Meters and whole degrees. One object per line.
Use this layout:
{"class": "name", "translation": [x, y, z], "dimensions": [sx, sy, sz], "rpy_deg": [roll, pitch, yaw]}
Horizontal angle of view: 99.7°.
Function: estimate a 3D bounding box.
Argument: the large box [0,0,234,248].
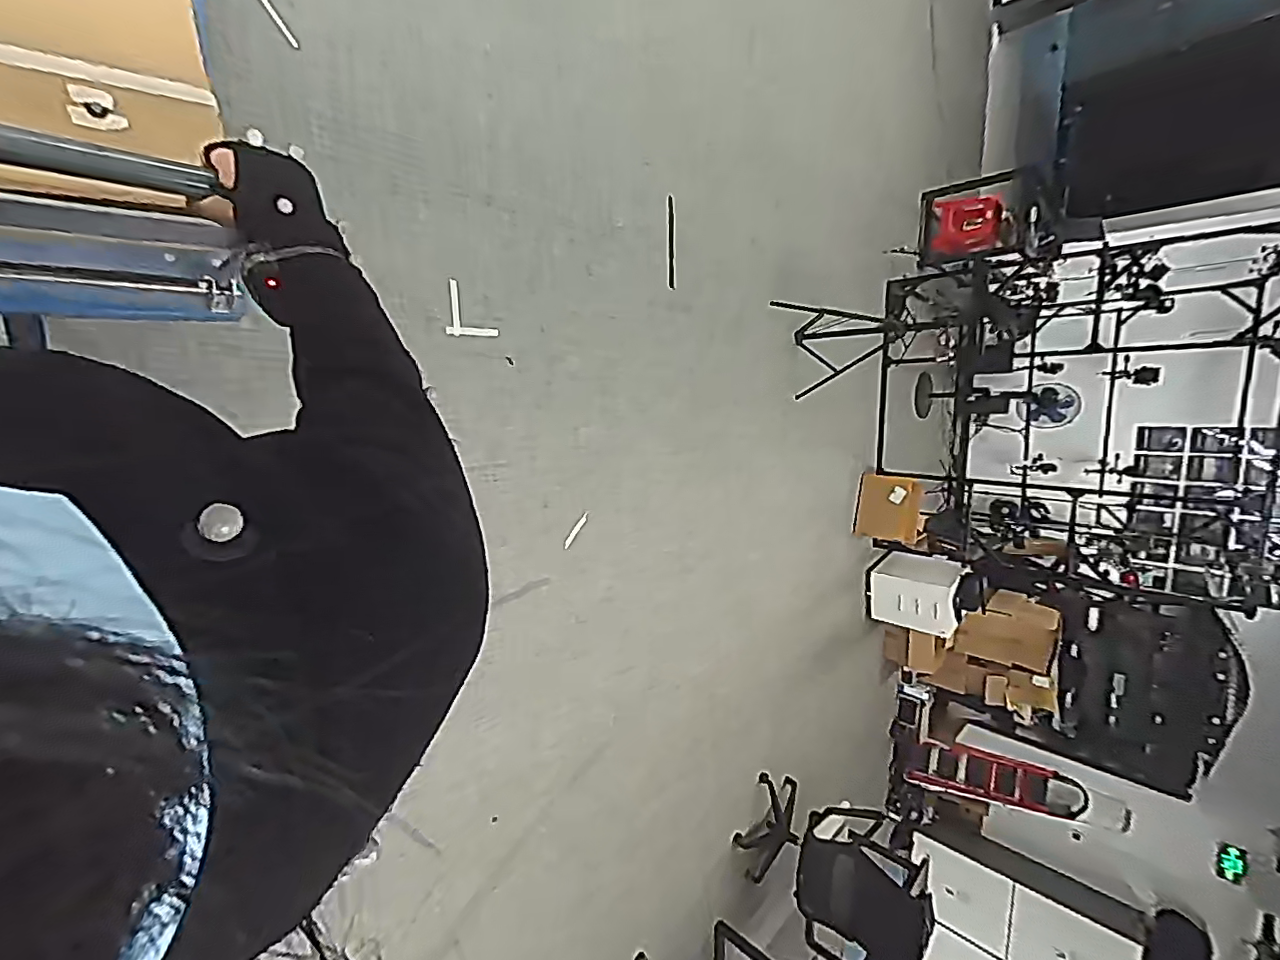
{"class": "large box", "translation": [-0.885, -0.533, 0.765], "dimensions": [0.408, 0.320, 0.320], "rpy_deg": [-18, 109, -45]}
